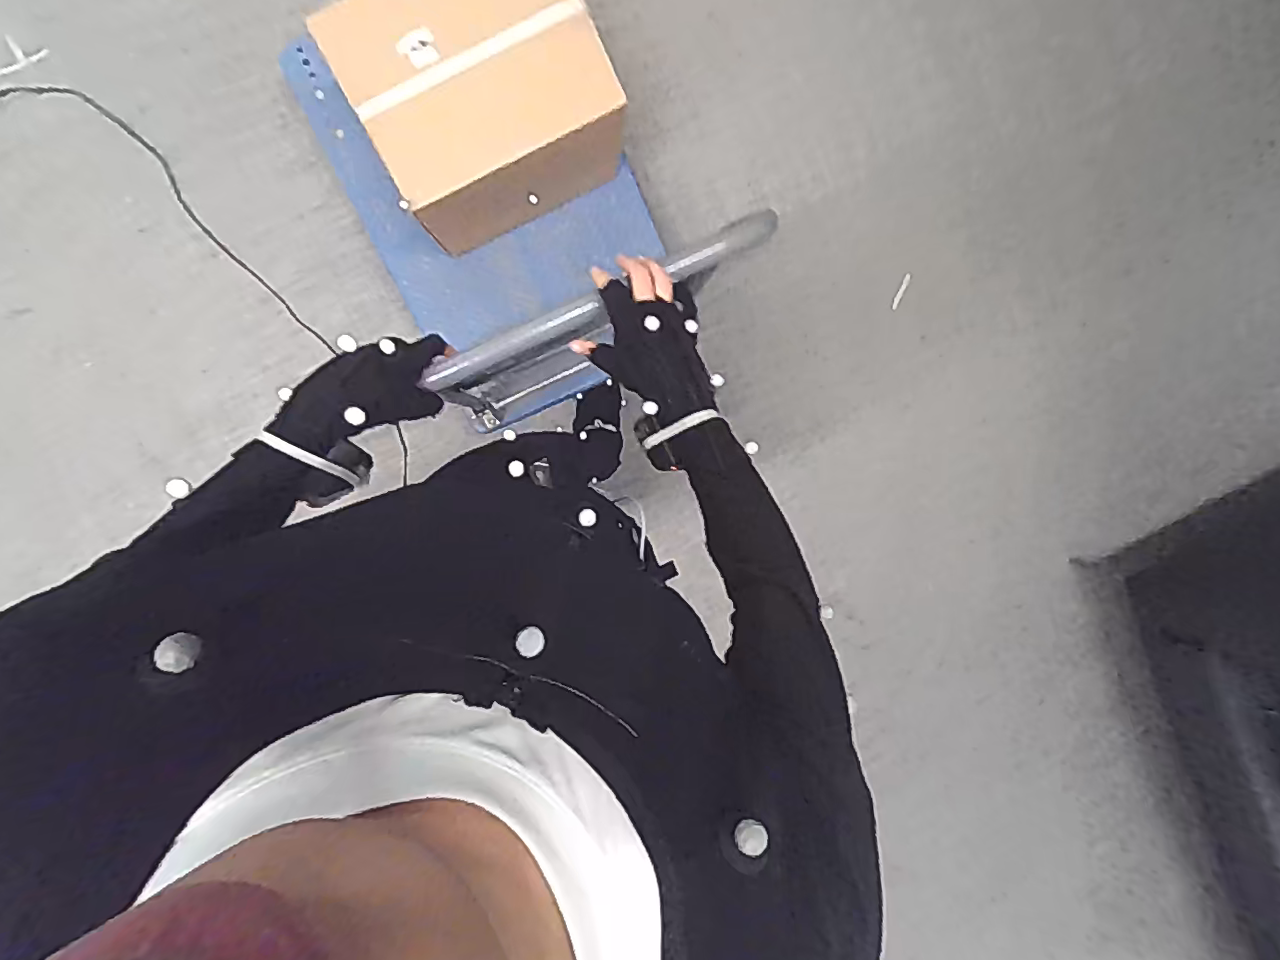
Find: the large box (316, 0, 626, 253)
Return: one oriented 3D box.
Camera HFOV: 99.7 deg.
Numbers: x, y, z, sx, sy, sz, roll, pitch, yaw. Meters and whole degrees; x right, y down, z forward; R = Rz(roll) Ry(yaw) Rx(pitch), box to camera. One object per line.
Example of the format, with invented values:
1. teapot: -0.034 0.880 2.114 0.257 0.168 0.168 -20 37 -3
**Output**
1. large box: -0.277 -0.691 1.014 0.408 0.320 0.320 -27 100 -1
